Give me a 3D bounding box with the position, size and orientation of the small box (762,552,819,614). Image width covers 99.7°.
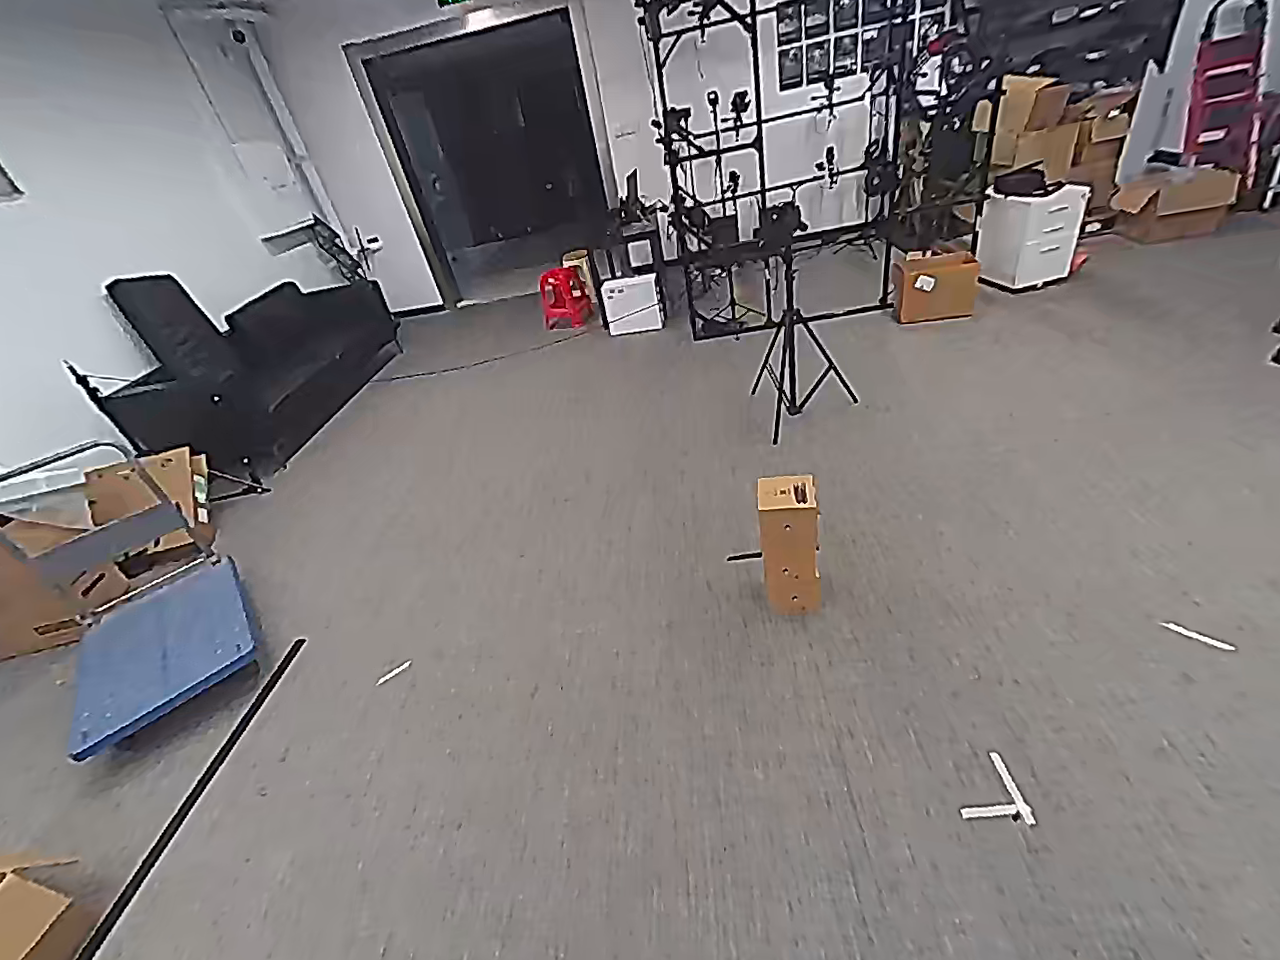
[{"bbox_3d":[0.539,0.362,1.933,0.168,0.176,0.179,-8,33,6],"label":"small box"}]

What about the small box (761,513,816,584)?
[{"bbox_3d":[0.502,0.234,1.840,0.168,0.176,0.179,-5,35,12],"label":"small box"}]
